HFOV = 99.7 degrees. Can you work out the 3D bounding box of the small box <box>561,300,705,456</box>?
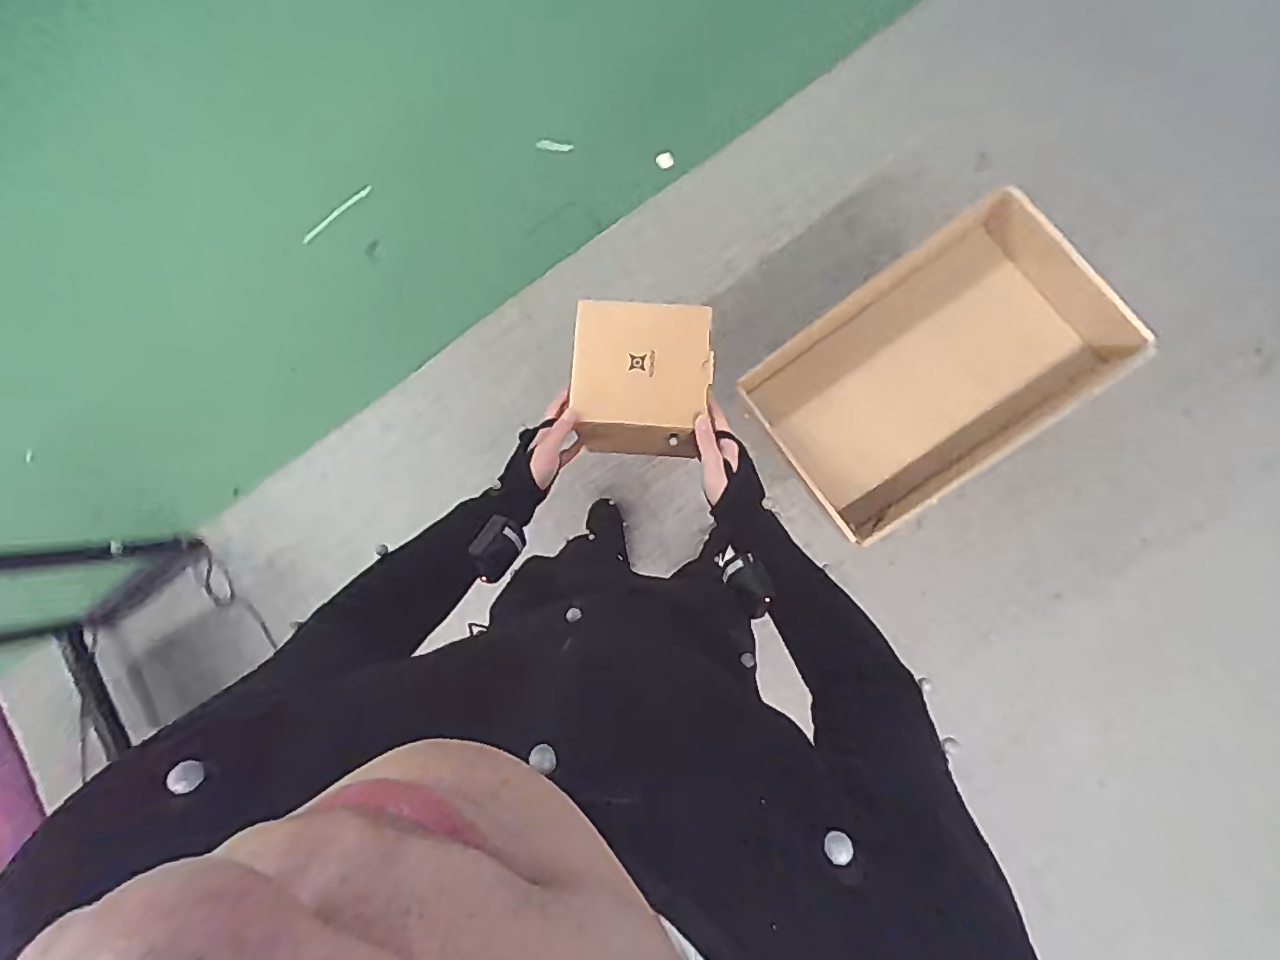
[{"bbox_3d":[-0.007,-0.132,0.756,0.179,0.176,0.168,2,79,0],"label":"small box"}]
